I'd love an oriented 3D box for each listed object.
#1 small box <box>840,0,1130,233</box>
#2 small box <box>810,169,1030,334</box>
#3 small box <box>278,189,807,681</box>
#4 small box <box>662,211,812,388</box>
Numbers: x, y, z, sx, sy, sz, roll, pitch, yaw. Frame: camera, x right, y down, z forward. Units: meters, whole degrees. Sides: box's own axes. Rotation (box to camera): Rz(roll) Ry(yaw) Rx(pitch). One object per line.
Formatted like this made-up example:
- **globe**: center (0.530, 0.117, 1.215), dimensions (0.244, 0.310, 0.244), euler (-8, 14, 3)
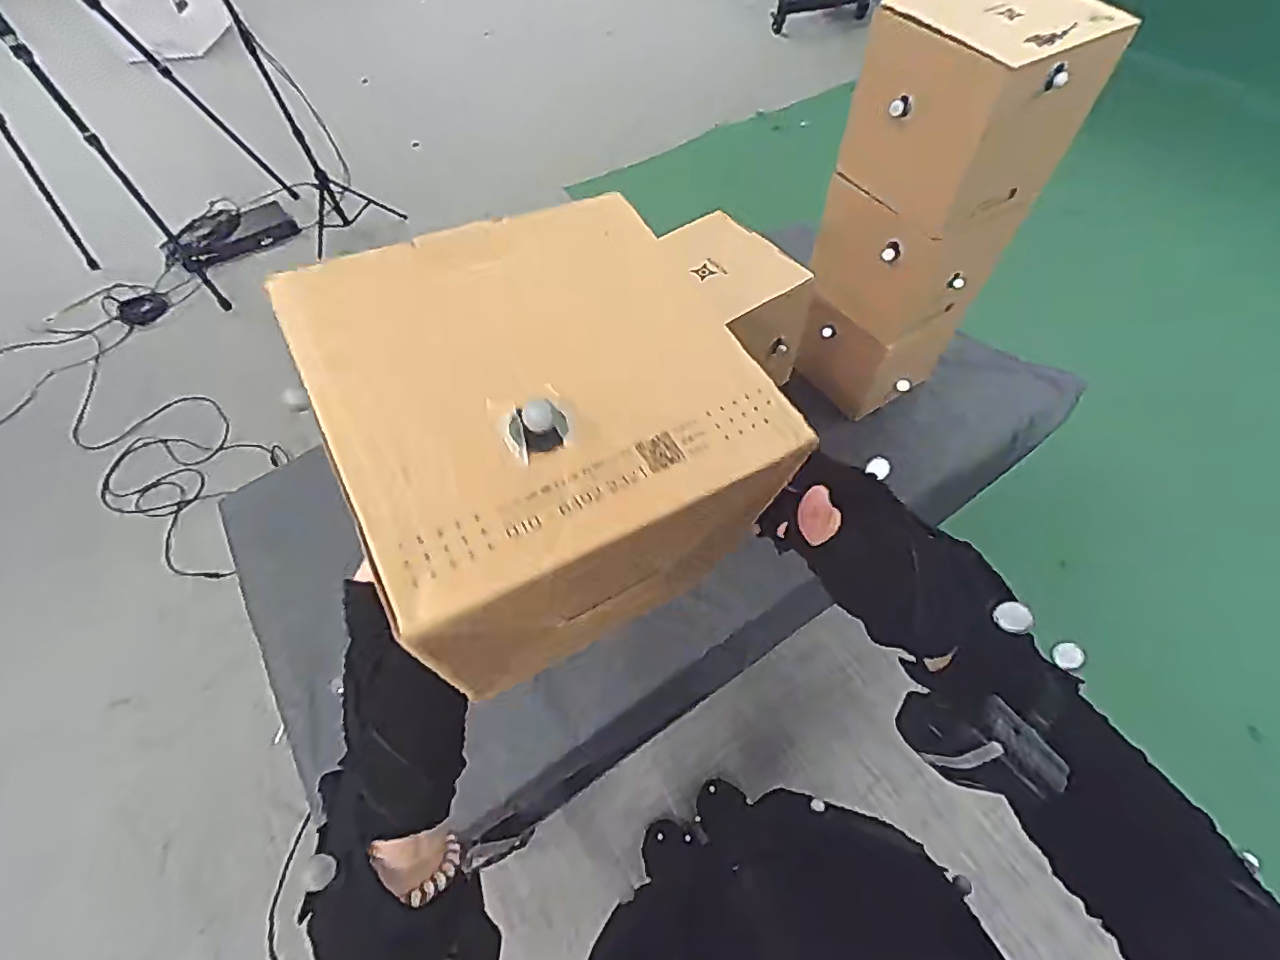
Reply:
- **small box**: center (0.352, -0.409, 0.597), dimensions (0.168, 0.176, 0.179), euler (-26, 60, -12)
- **small box**: center (0.361, -0.325, 0.737), dimensions (0.168, 0.176, 0.179), euler (-28, 61, -13)
- **small box**: center (-0.049, -0.010, 0.289), dimensions (0.168, 0.179, 0.176), euler (-25, 71, -21)
- **small box**: center (0.078, -0.190, 0.671), dimensions (0.179, 0.176, 0.168), euler (-32, 61, -16)
